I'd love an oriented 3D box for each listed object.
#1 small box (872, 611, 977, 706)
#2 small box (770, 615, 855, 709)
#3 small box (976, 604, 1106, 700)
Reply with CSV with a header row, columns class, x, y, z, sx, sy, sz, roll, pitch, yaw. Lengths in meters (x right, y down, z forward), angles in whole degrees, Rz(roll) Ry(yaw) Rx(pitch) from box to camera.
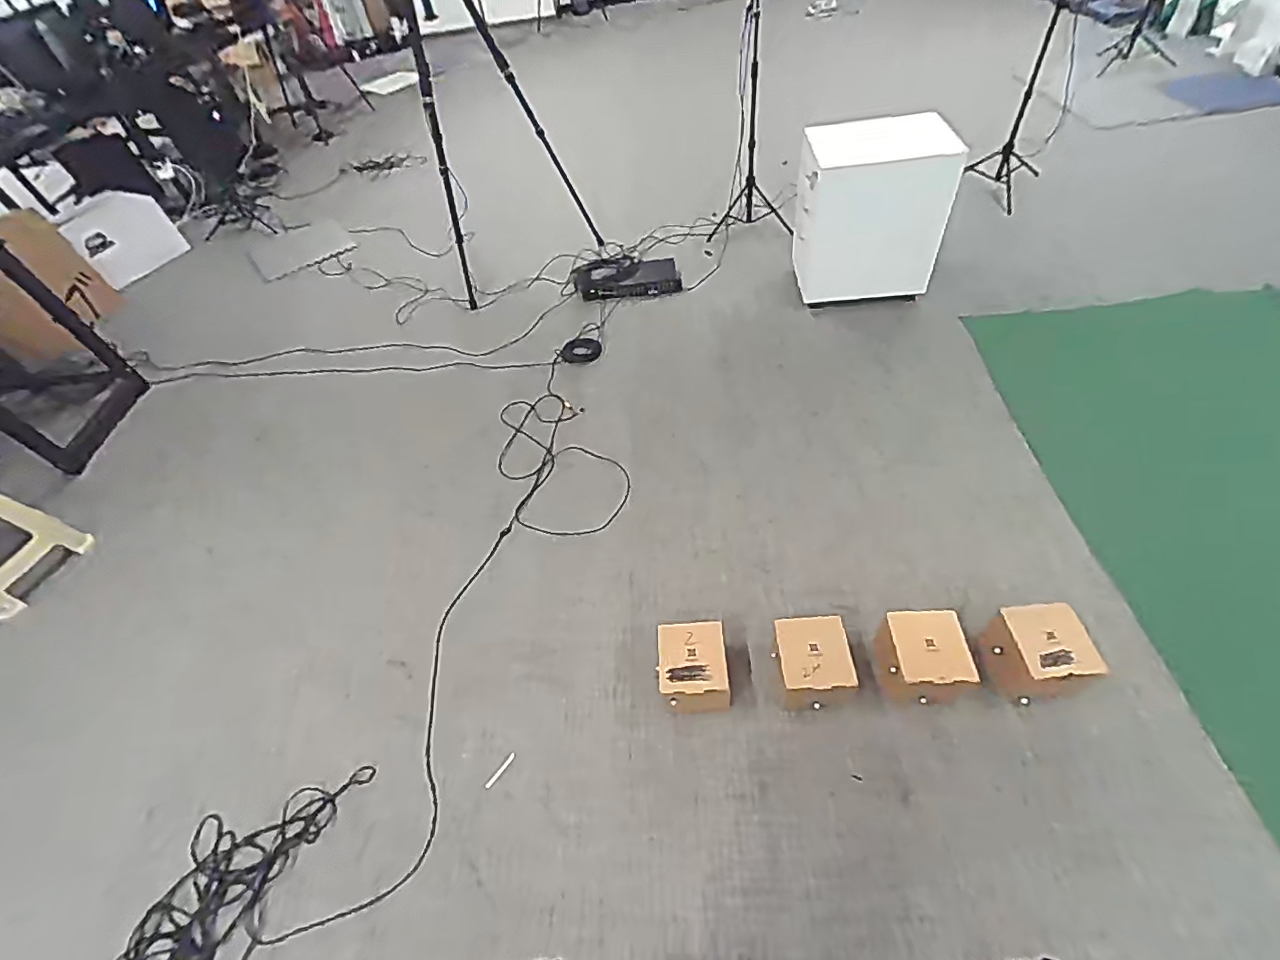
class,x,y,z,sx,sy,sz,roll,pitch,yaw
small box,0.691,0.442,1.338,0.168,0.176,0.179,-3,51,6
small box,0.424,0.460,1.360,0.168,0.176,0.179,-5,51,6
small box,0.958,0.423,1.312,0.168,0.176,0.179,-5,50,4
